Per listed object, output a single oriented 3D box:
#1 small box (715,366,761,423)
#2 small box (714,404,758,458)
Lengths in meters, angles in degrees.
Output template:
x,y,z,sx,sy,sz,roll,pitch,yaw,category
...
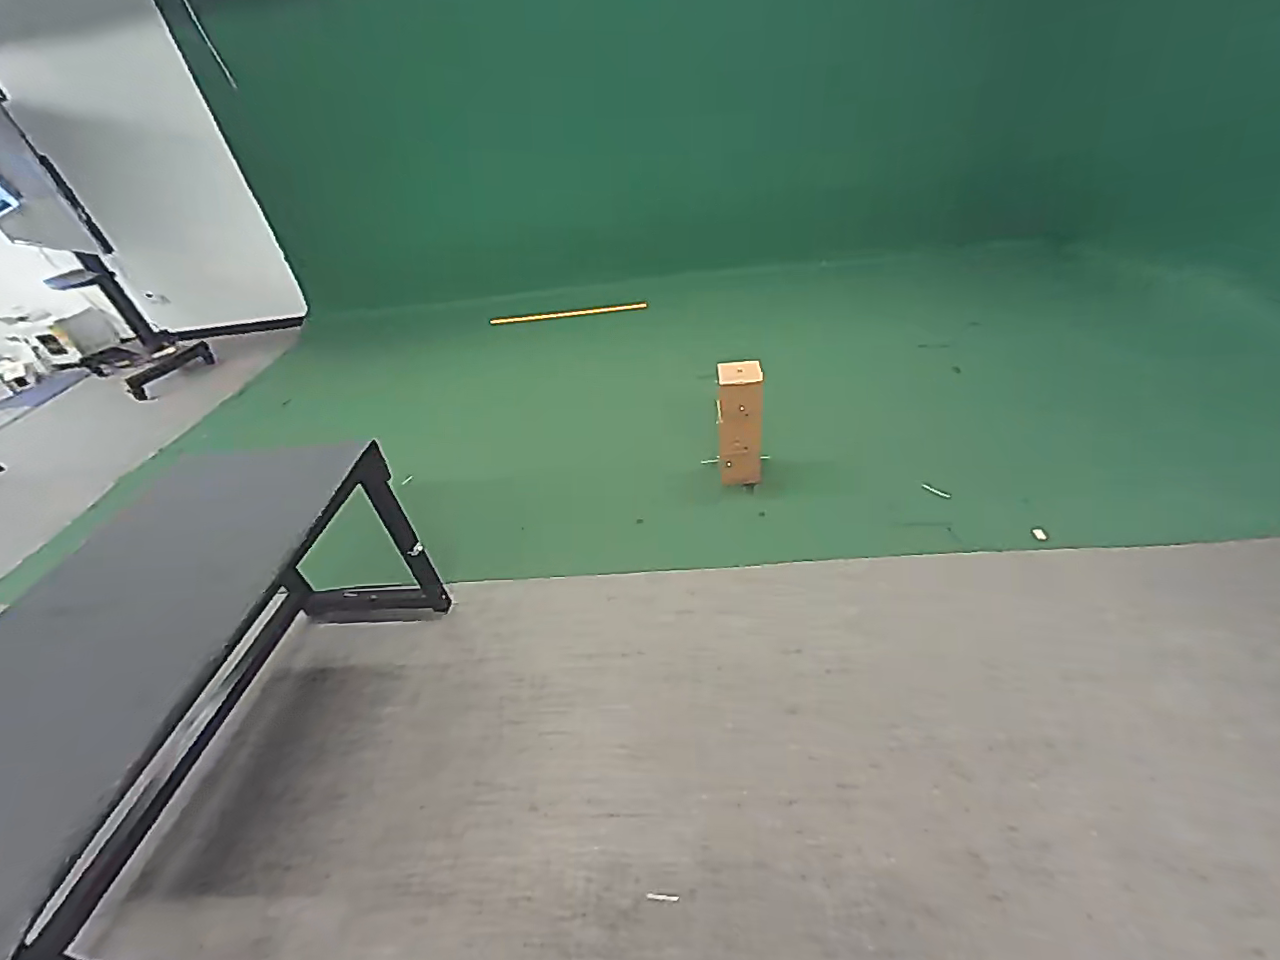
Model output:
x,y,z,sx,sy,sz,roll,pitch,yaw,category
0.389,-0.343,2.173,0.168,0.176,0.179,-3,38,6,small box
0.399,-0.210,2.271,0.168,0.176,0.179,-3,38,5,small box
